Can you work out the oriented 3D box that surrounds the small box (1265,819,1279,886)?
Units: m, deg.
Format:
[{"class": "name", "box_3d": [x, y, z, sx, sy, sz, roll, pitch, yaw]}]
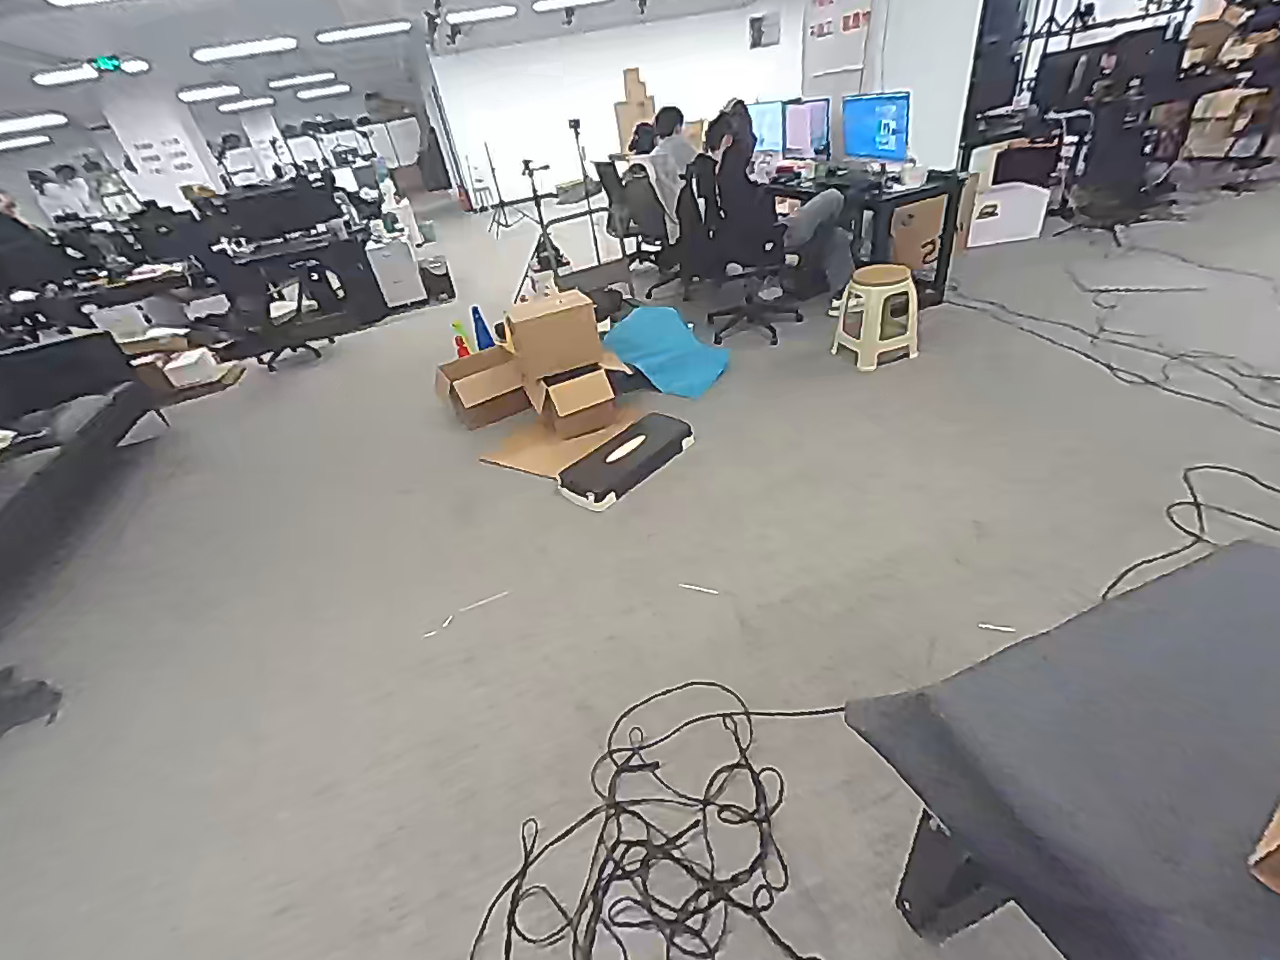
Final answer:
[{"class": "small box", "box_3d": [0.674, 0.294, 0.433, 0.179, 0.176, 0.168, -29, 39, -24]}]
